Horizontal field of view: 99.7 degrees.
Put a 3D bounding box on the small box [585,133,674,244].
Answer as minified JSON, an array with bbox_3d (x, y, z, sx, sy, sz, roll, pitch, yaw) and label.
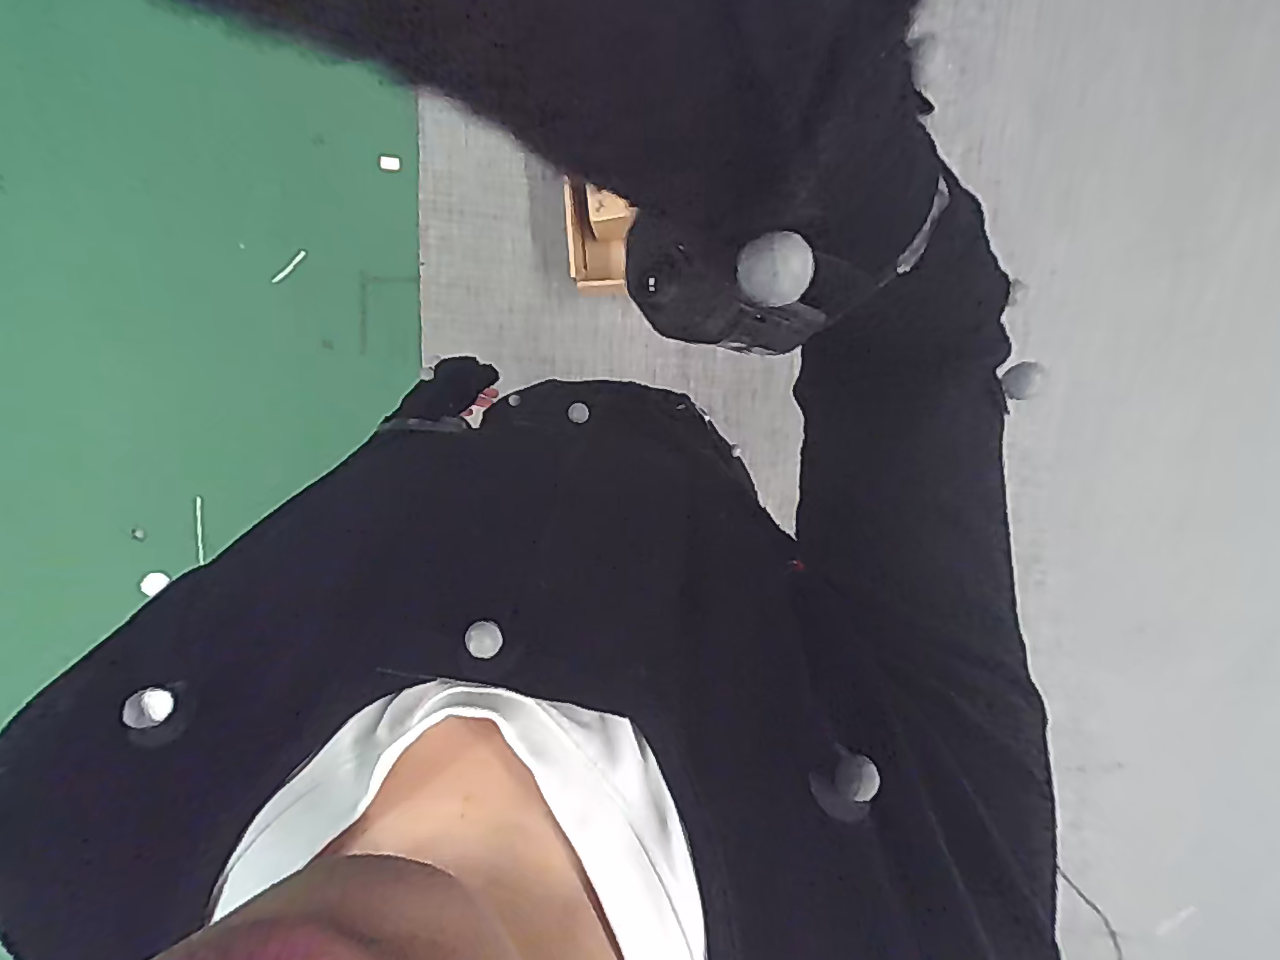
[{"bbox_3d":[-0.022,-0.648,1.219,0.179,0.176,0.168,-7,99,2],"label":"small box"}]
